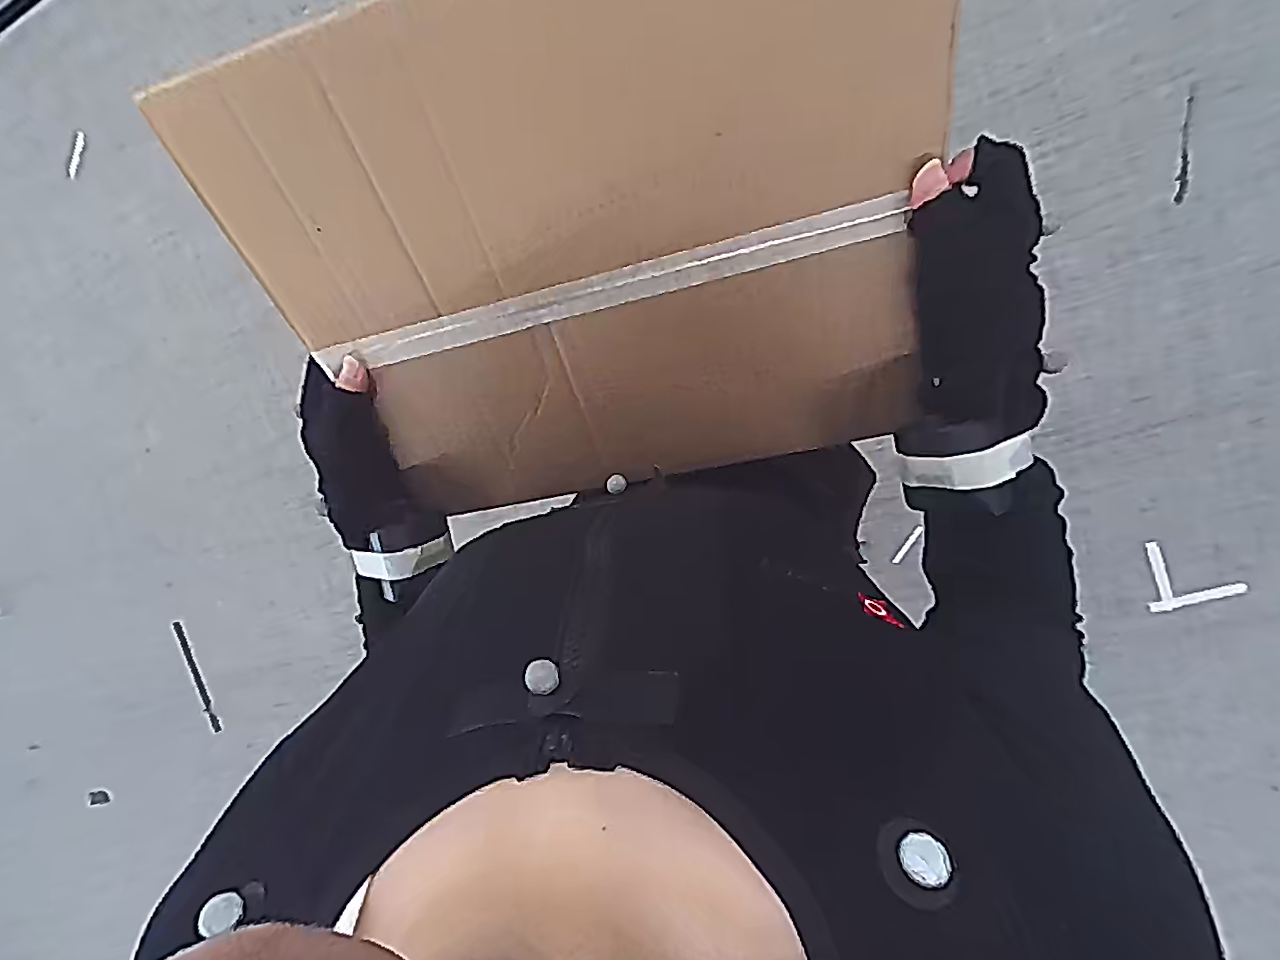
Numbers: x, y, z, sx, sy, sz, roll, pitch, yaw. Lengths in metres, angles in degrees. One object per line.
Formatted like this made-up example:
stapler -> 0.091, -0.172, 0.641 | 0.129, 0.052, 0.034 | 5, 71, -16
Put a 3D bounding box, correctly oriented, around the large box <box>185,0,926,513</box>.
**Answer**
large box -> -0.021, -0.217, 0.466 | 0.408, 0.320, 0.320 | -11, 128, 12
